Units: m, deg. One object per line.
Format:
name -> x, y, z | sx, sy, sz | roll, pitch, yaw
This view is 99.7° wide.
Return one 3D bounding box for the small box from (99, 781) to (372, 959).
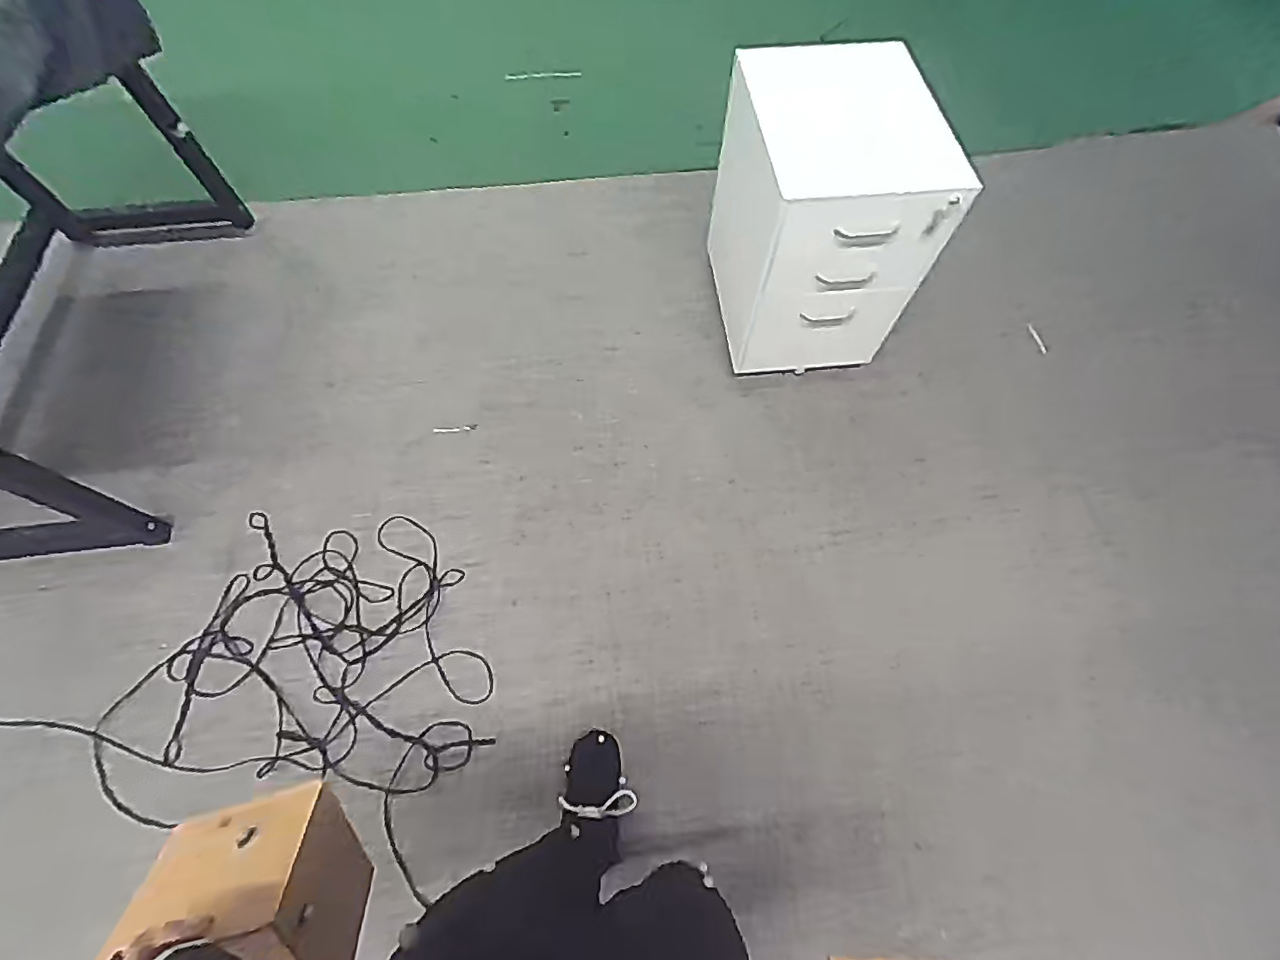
small box -> -0.425, 0.482, 0.602 | 0.168, 0.179, 0.176 | -14, 23, -8
